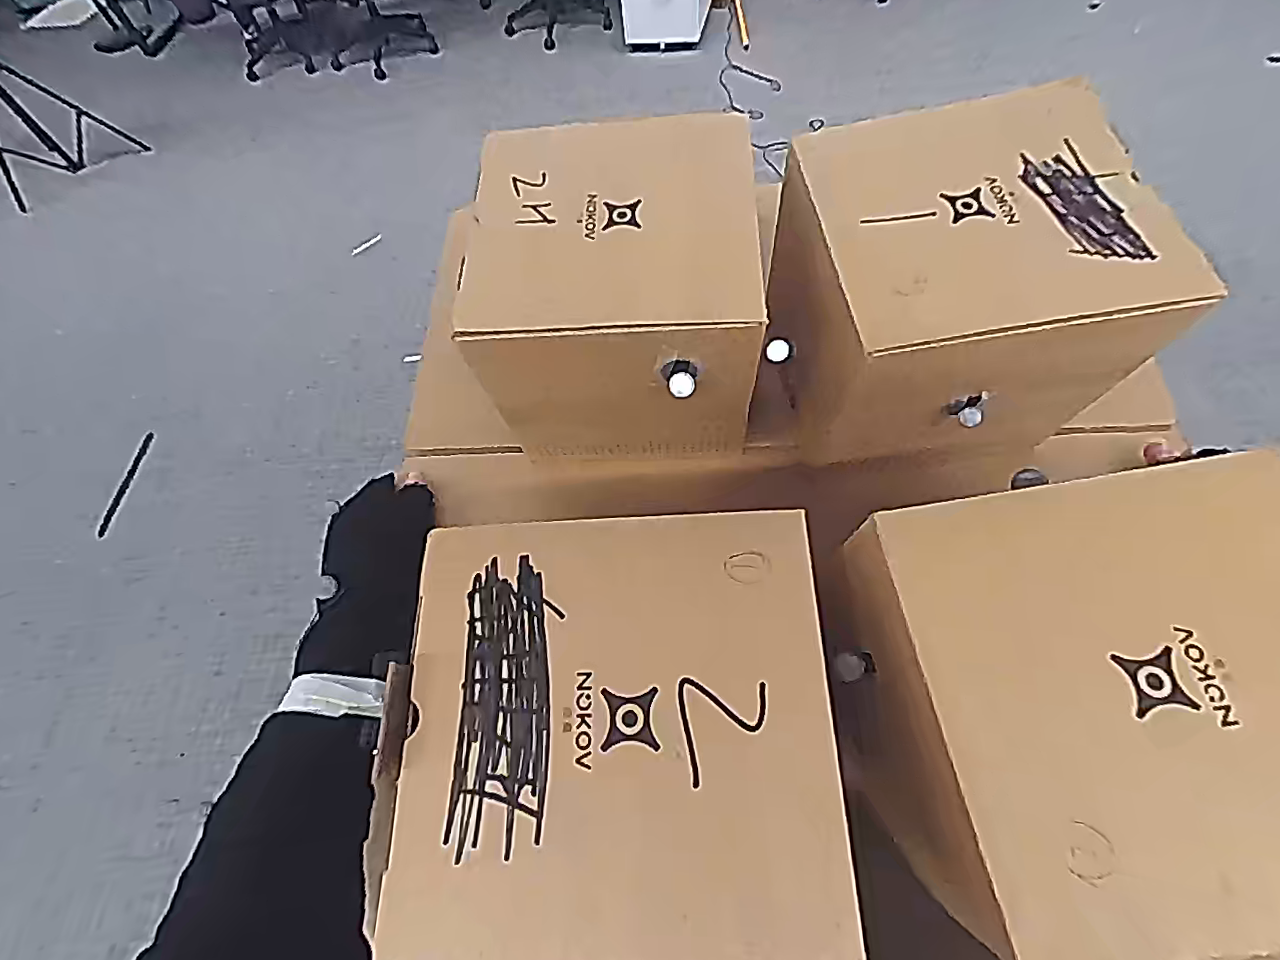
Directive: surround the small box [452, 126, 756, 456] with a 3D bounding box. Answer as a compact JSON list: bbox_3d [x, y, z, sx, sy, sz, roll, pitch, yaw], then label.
[{"bbox_3d":[-0.012,-0.126,0.407,0.179,0.176,0.168,-1,67,6],"label":"small box"}]
